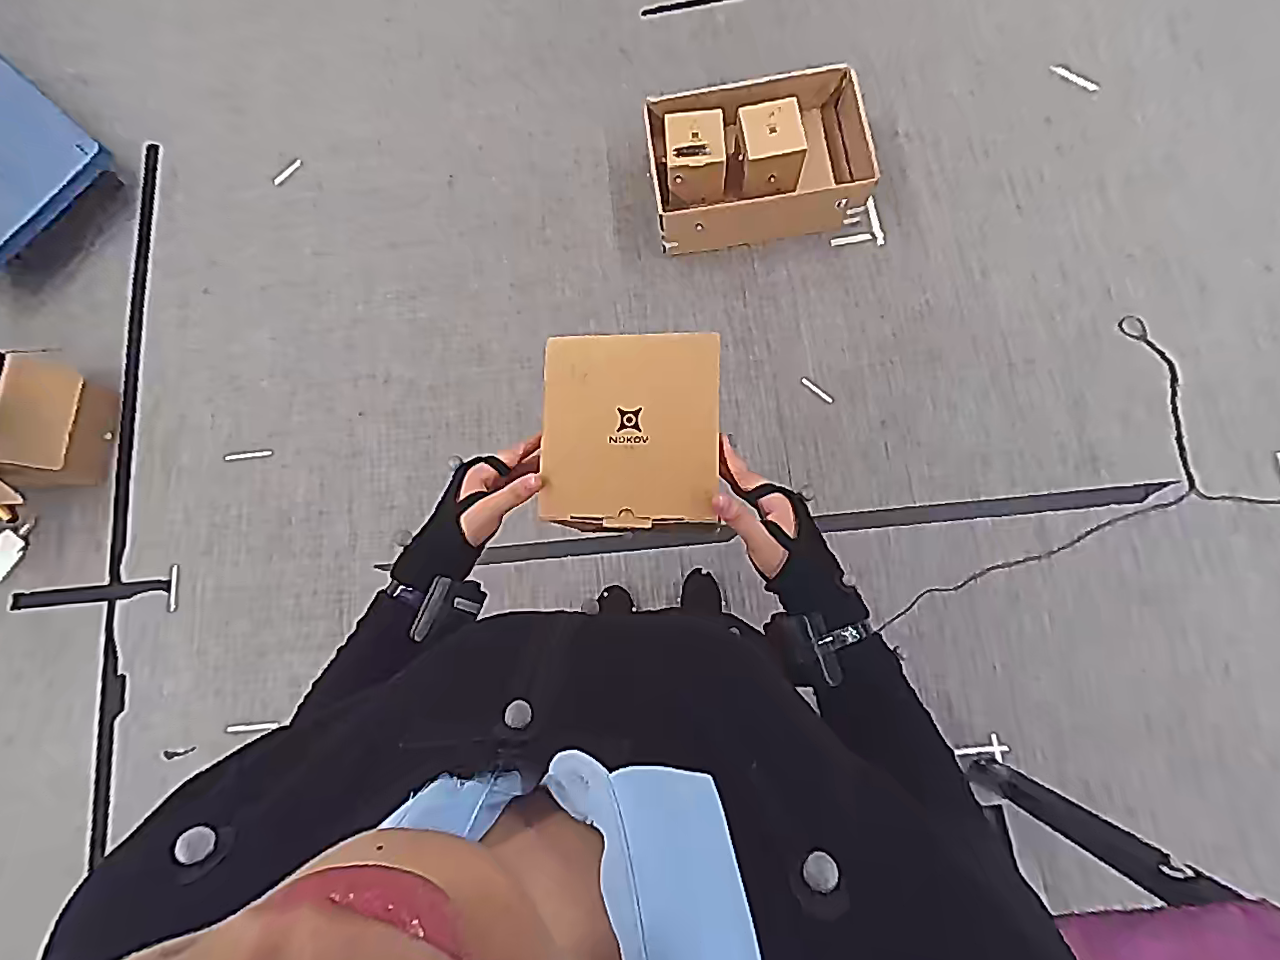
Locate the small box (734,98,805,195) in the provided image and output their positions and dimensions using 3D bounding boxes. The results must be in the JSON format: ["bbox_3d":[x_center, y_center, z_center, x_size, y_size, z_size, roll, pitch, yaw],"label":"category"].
[{"bbox_3d":[0.375,-0.969,1.592,0.168,0.176,0.179,-9,79,3],"label":"small box"}]
